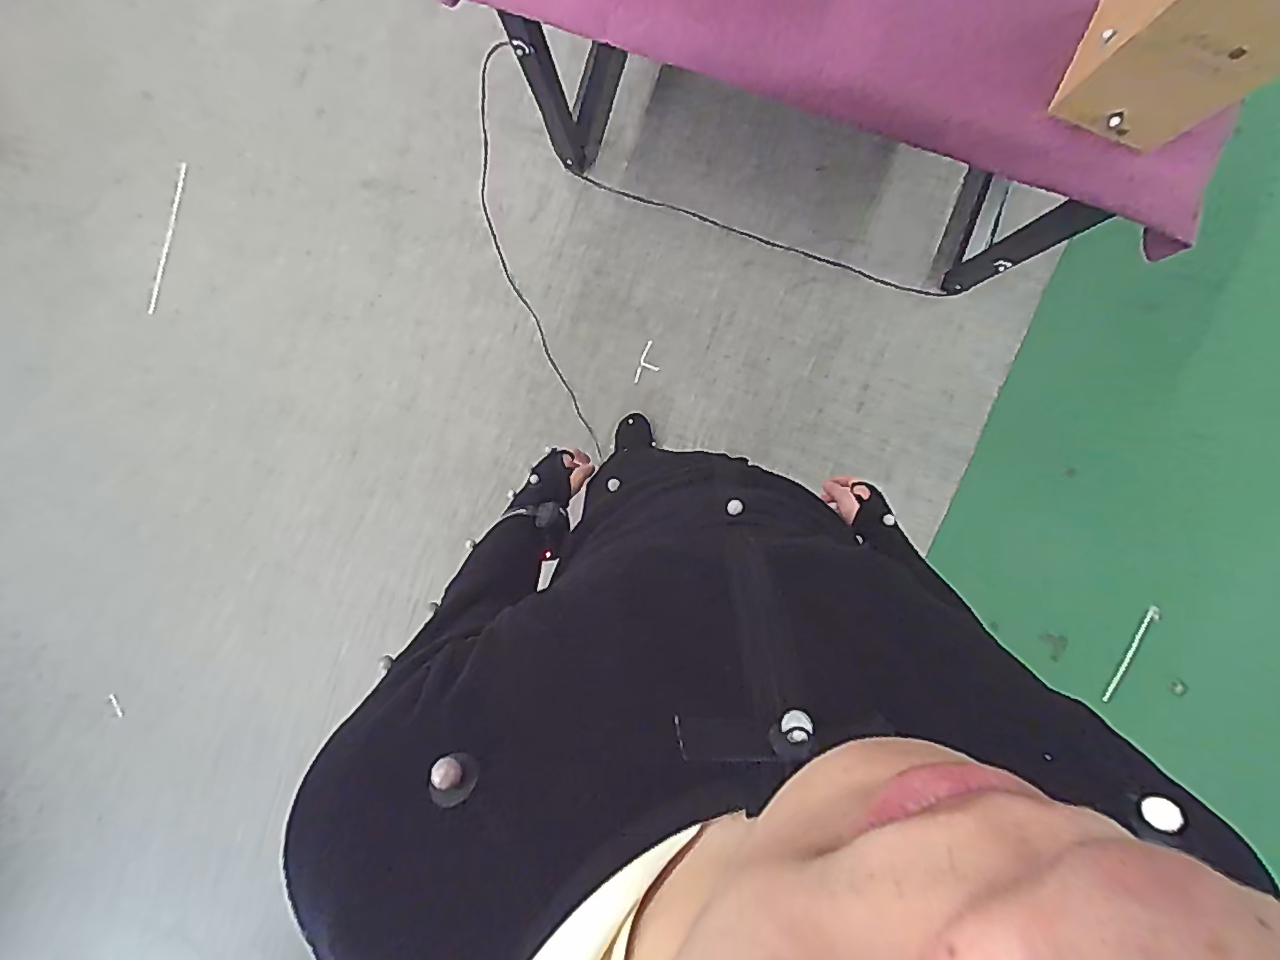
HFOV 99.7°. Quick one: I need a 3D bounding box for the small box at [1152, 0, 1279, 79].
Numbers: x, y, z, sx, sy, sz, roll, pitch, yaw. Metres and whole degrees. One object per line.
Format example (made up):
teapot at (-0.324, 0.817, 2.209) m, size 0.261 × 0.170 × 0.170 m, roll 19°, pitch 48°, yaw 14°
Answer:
small box at (0.698, -0.574, 0.553) m, size 0.168 × 0.176 × 0.179 m, roll 25°, pitch 95°, yaw 3°
